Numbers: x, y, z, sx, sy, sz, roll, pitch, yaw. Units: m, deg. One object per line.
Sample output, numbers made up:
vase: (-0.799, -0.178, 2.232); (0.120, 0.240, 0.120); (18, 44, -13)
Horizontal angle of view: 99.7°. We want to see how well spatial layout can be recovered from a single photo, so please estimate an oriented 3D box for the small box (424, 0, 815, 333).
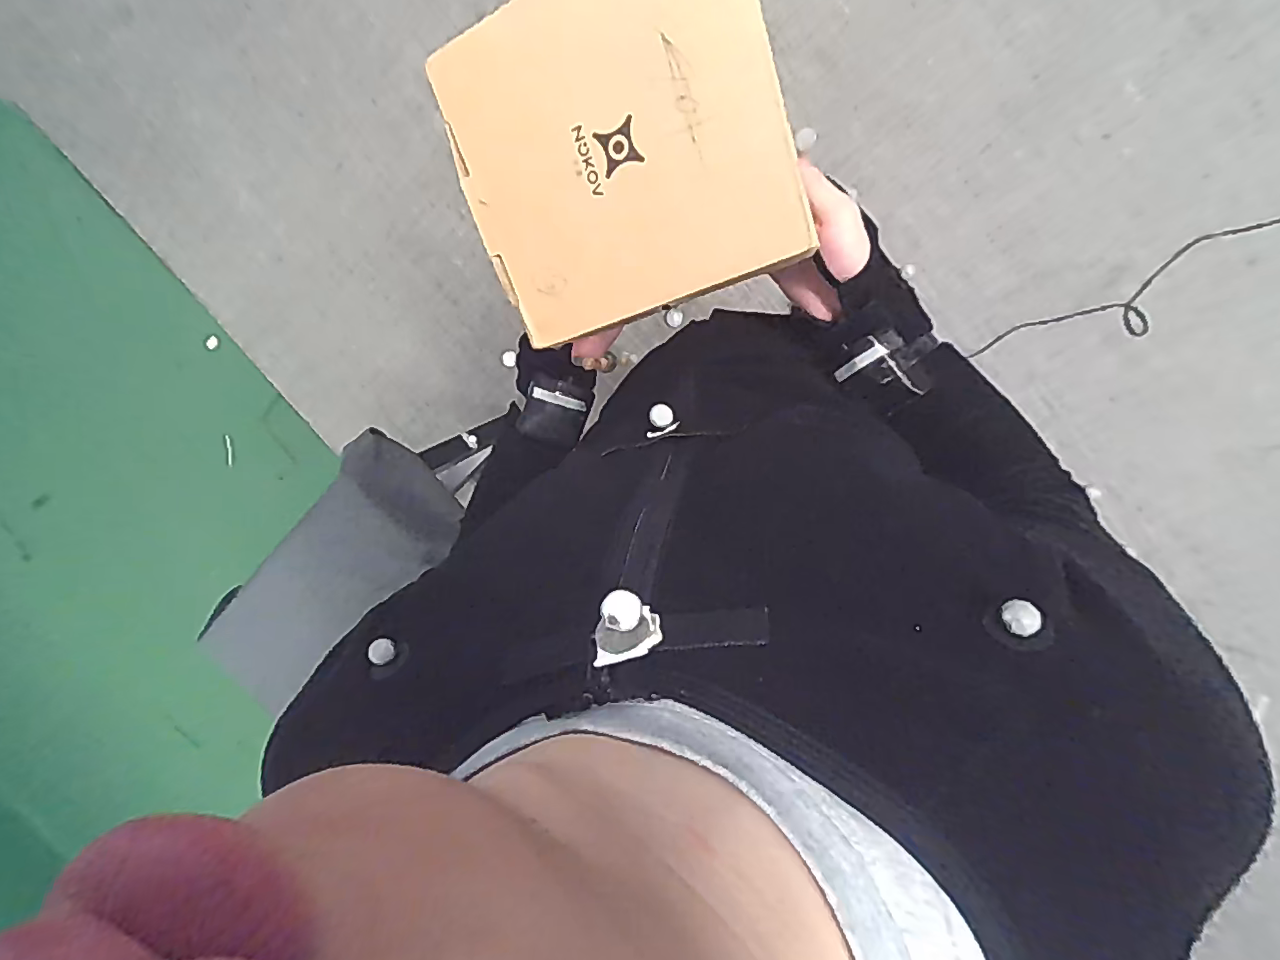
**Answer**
small box: (0.007, -0.208, 0.352); (0.179, 0.176, 0.168); (-15, 106, 21)
